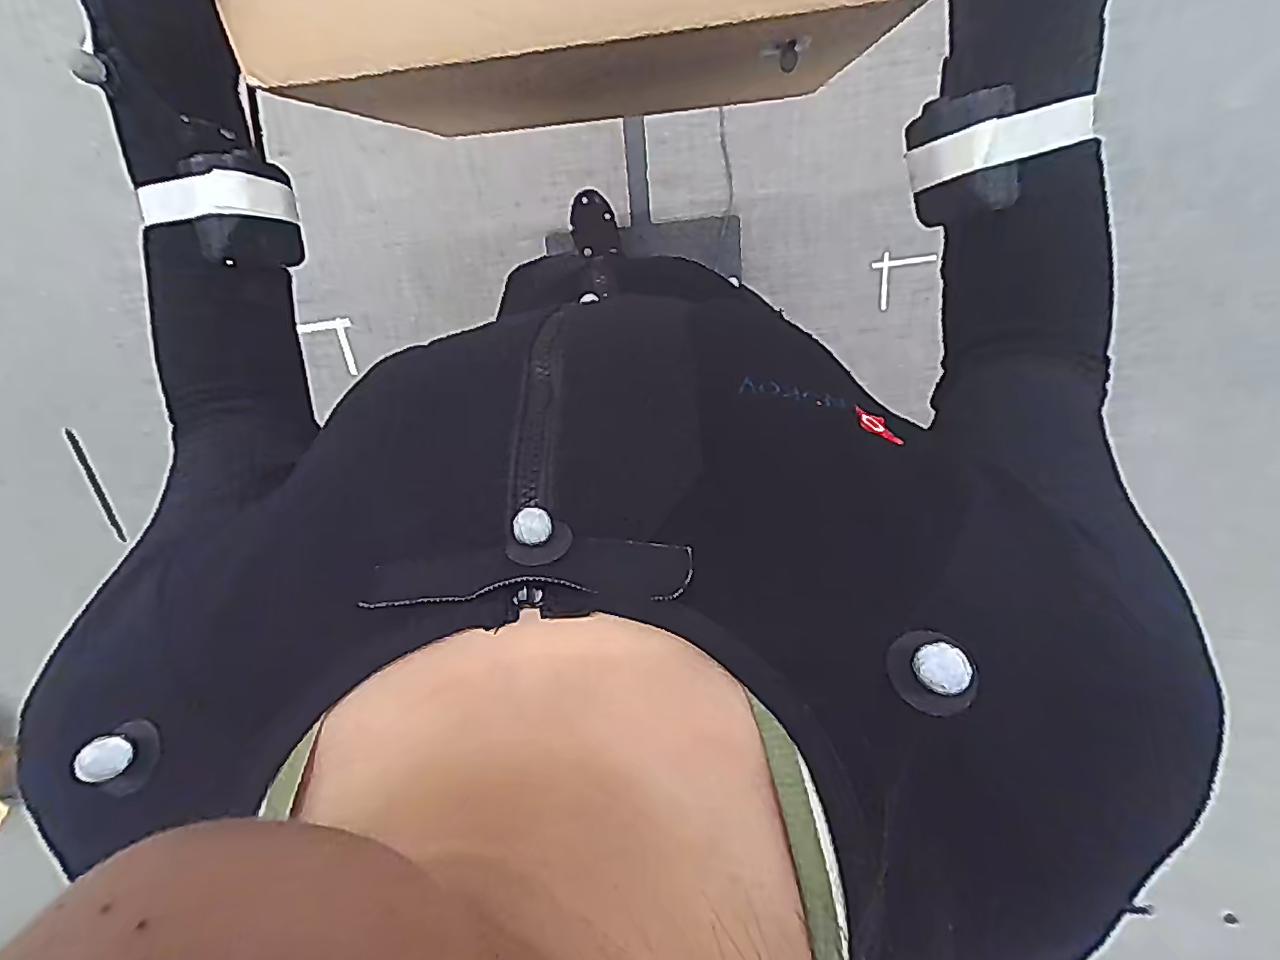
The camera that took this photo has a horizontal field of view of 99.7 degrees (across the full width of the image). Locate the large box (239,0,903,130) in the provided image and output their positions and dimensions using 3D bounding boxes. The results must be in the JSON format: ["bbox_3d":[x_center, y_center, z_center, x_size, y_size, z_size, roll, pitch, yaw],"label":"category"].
[{"bbox_3d":[-0.043,-0.463,0.382,0.408,0.320,0.320,-3,117,5],"label":"large box"}]

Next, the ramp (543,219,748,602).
[{"bbox_3d":[0.025,-0.148,1.457,0.509,0.206,0.991,-5,110,7],"label":"ramp"}]
